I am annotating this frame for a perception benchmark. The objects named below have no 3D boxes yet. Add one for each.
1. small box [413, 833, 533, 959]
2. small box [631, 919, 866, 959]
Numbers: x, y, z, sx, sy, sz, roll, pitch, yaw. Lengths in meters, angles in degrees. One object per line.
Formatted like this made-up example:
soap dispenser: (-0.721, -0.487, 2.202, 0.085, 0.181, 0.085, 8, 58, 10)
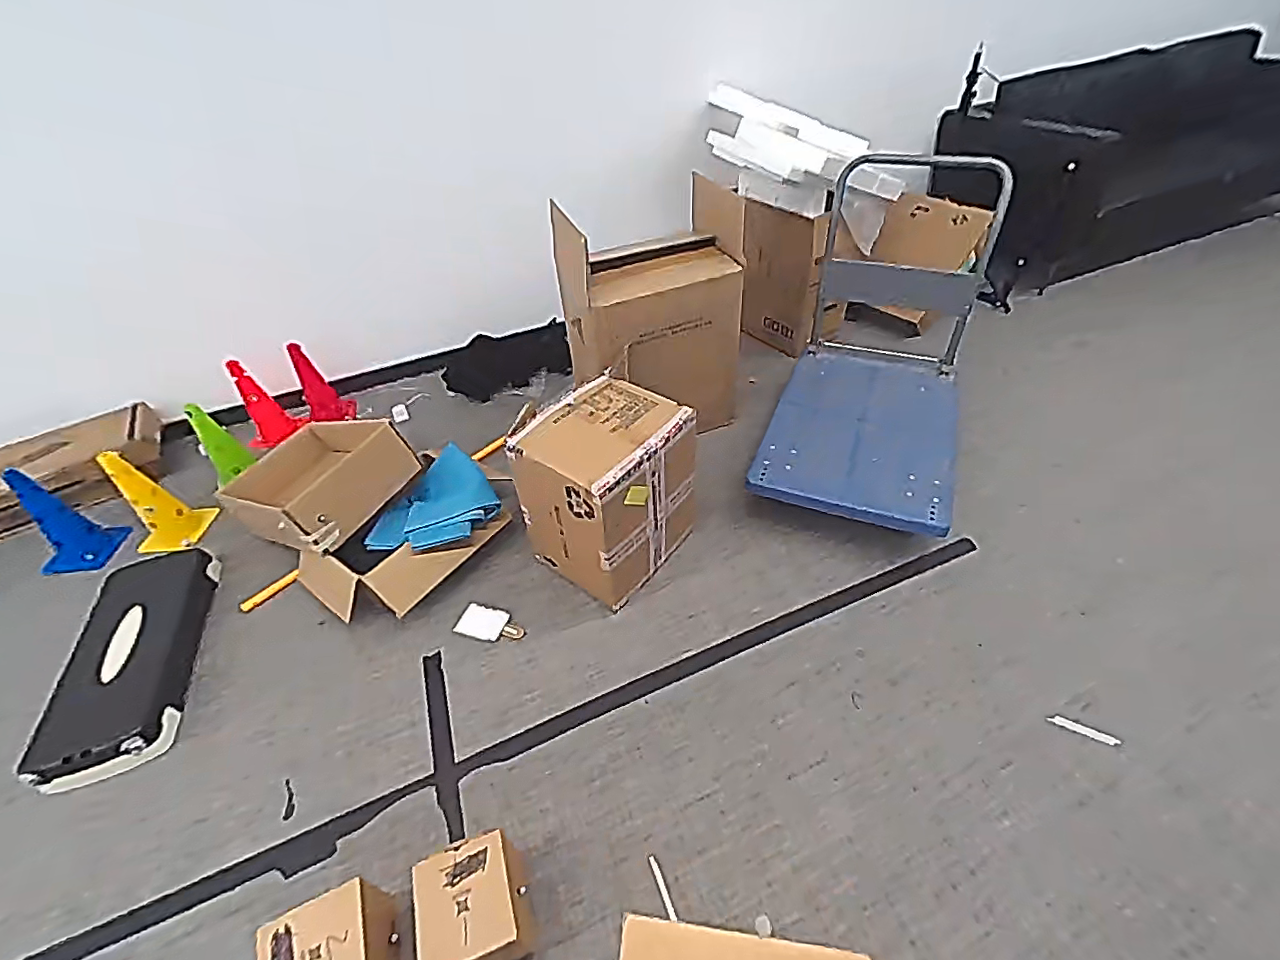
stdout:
small box: (-0.306, 0.800, 0.999, 0.168, 0.176, 0.179, -17, 45, -12)
small box: (0.065, 0.420, 0.358, 0.168, 0.176, 0.179, 5, 49, 7)
